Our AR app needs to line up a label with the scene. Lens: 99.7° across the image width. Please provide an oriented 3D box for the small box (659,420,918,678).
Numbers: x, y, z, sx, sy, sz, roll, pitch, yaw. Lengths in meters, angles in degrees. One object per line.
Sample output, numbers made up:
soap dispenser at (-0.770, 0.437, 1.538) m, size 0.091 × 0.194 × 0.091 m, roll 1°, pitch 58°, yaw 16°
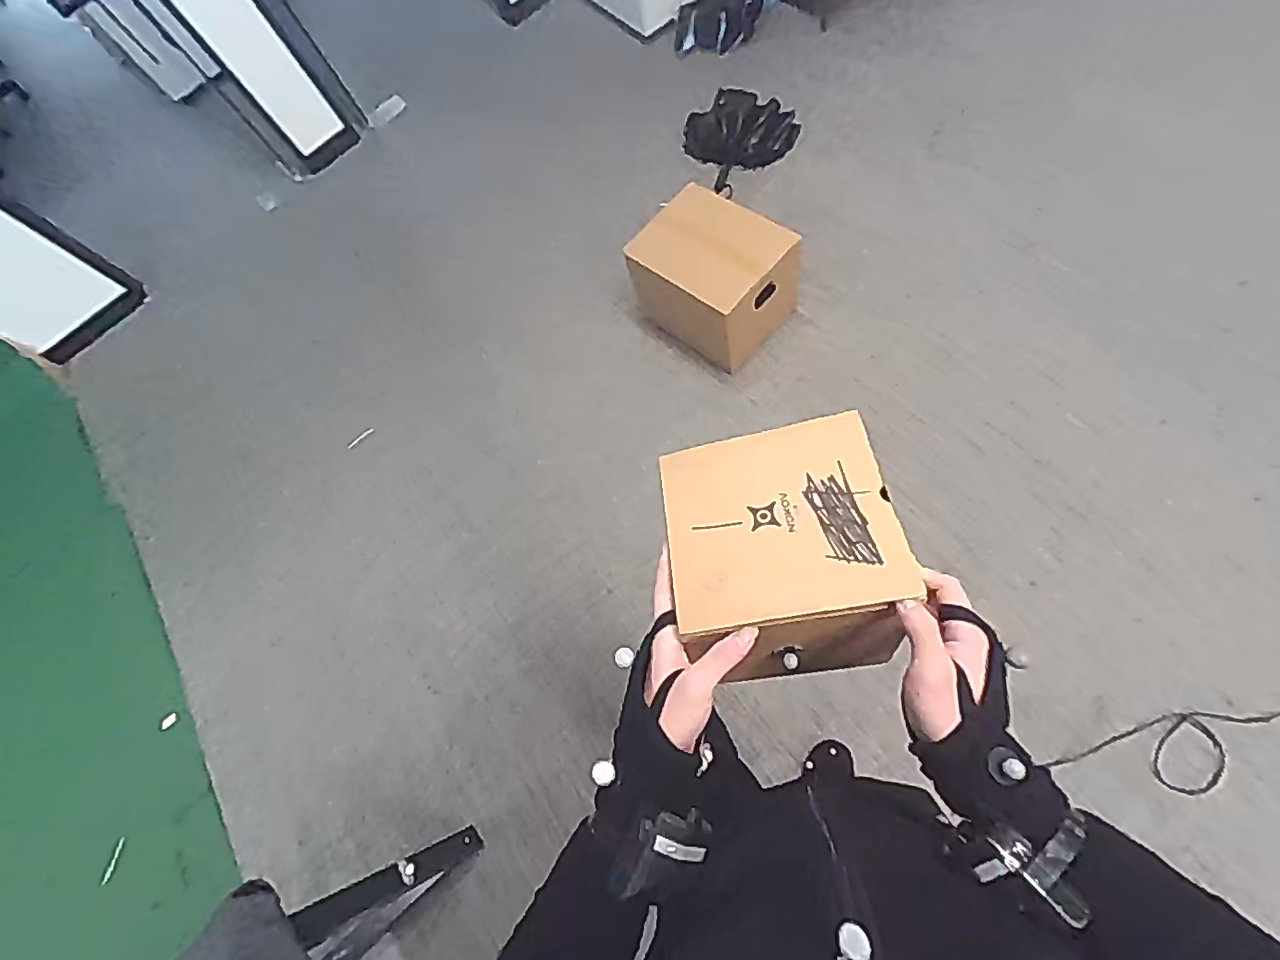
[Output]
small box at (0.122, 0.072, 0.495) m, size 0.179 × 0.176 × 0.168 m, roll -10°, pitch 55°, yaw 9°
